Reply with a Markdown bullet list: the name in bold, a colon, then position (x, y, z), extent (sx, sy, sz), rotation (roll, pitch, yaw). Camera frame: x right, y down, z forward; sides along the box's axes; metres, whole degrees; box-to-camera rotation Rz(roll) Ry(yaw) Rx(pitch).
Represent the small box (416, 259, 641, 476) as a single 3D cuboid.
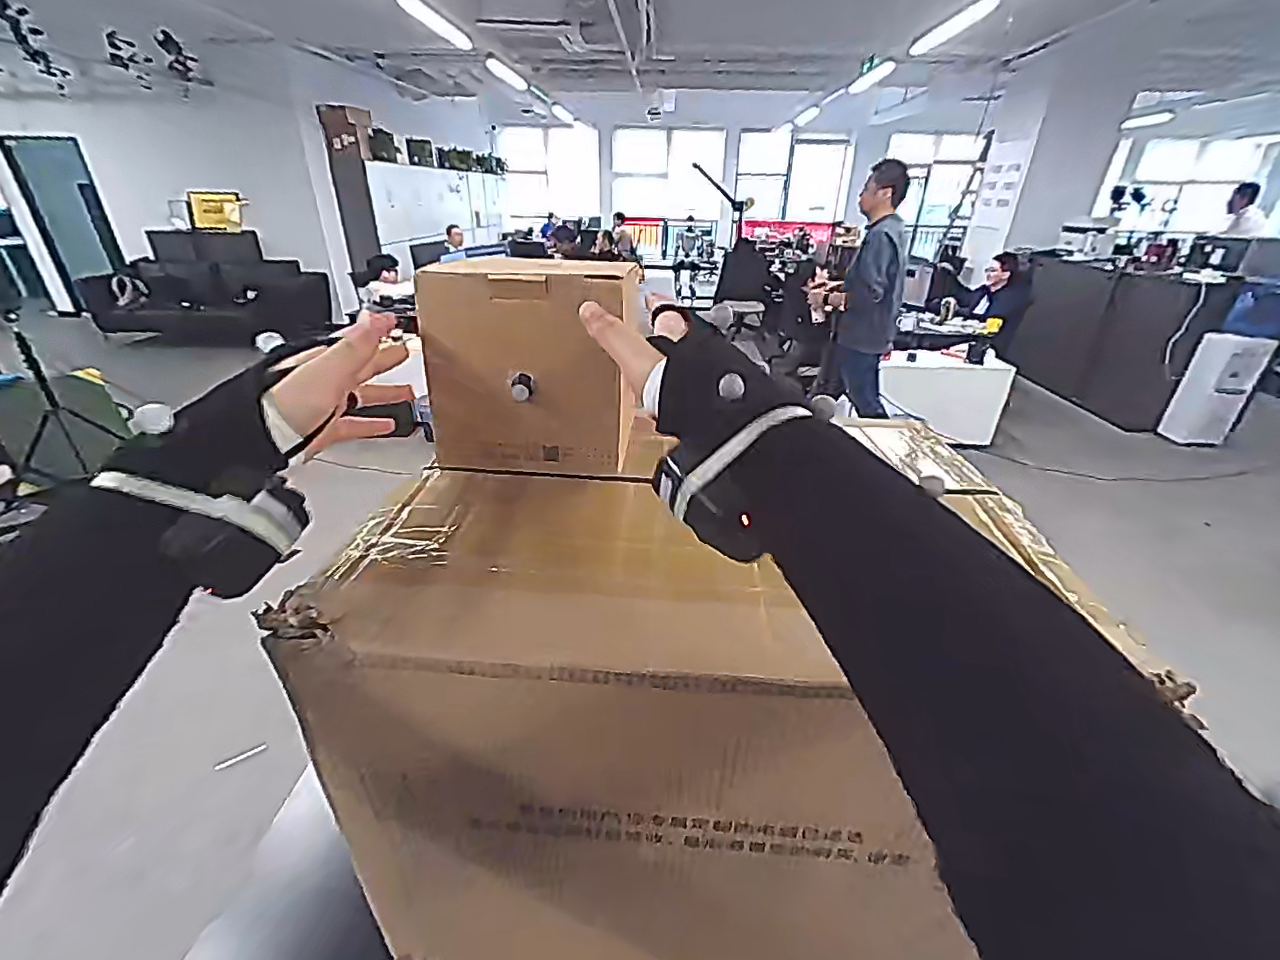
- **small box**: position (-0.087, -0.113, 0.518), extent (0.168, 0.176, 0.179), rotation (3, 26, 2)
